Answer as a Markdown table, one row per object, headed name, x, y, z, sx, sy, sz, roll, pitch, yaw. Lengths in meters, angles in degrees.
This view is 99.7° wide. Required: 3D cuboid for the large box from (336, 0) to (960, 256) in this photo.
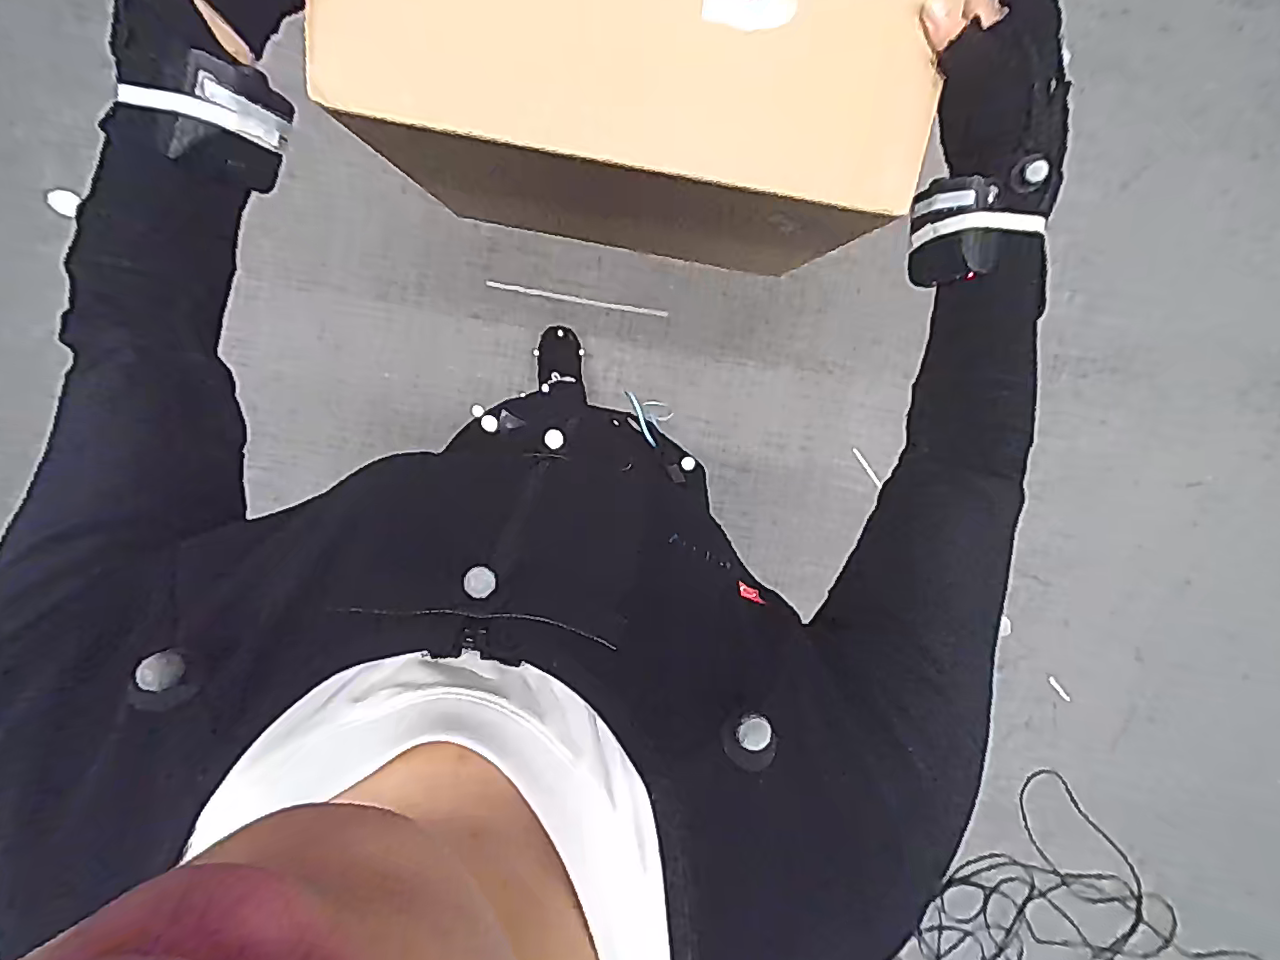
| name | x | y | z | sx | sy | sz | roll | pitch | yaw |
| --- | --- | --- | --- | --- | --- | --- | --- | --- | --- |
| large box | 0.012 | -0.412 | 0.475 | 0.408 | 0.320 | 0.320 | 8 | 104 | -5 |
